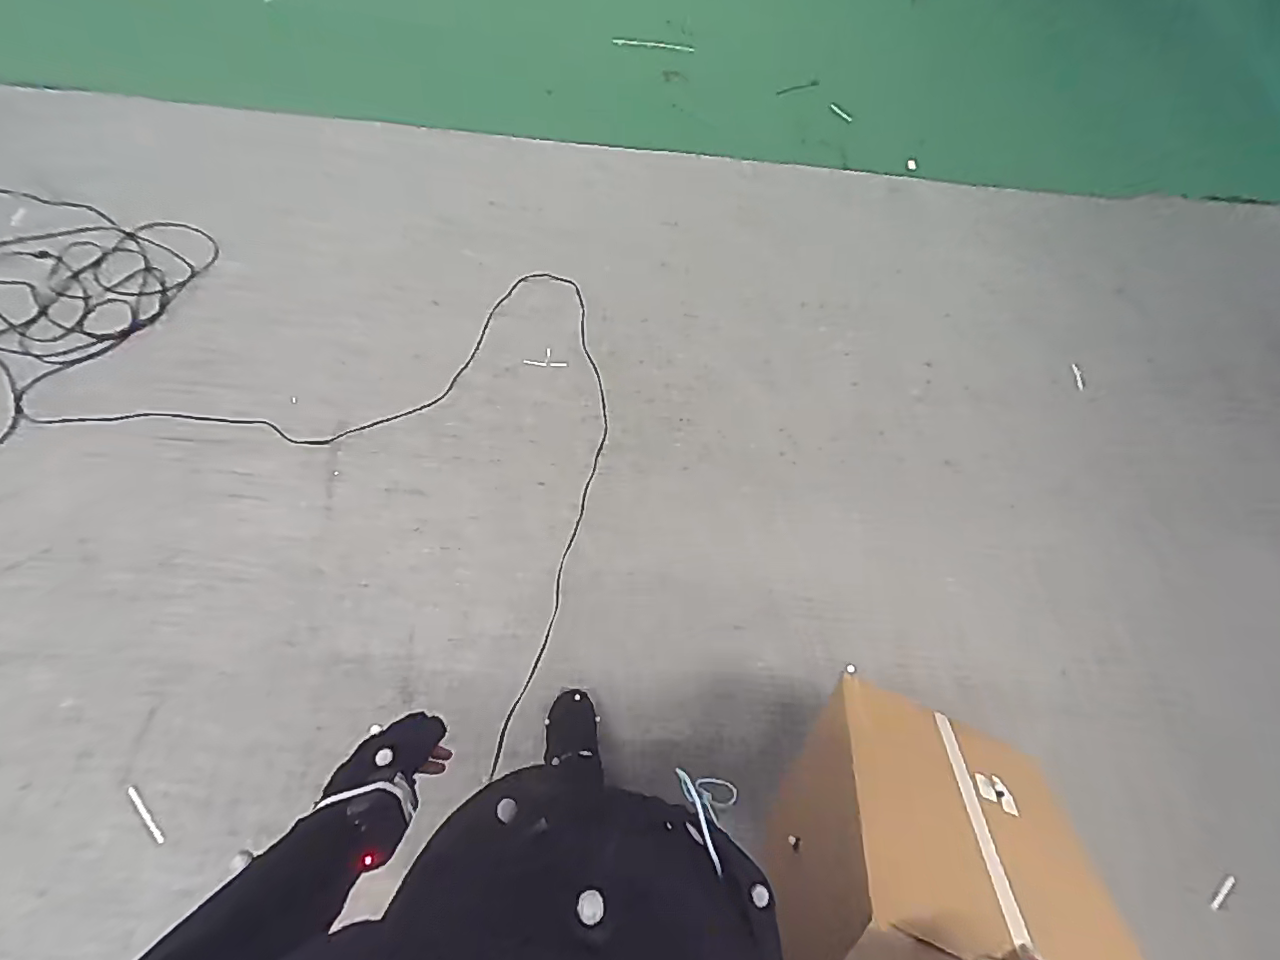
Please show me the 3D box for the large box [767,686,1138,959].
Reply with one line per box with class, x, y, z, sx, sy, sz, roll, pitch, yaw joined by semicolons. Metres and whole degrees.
large box;0.371;0.575;0.724;0.320;0.408;0.320;24;109;9
